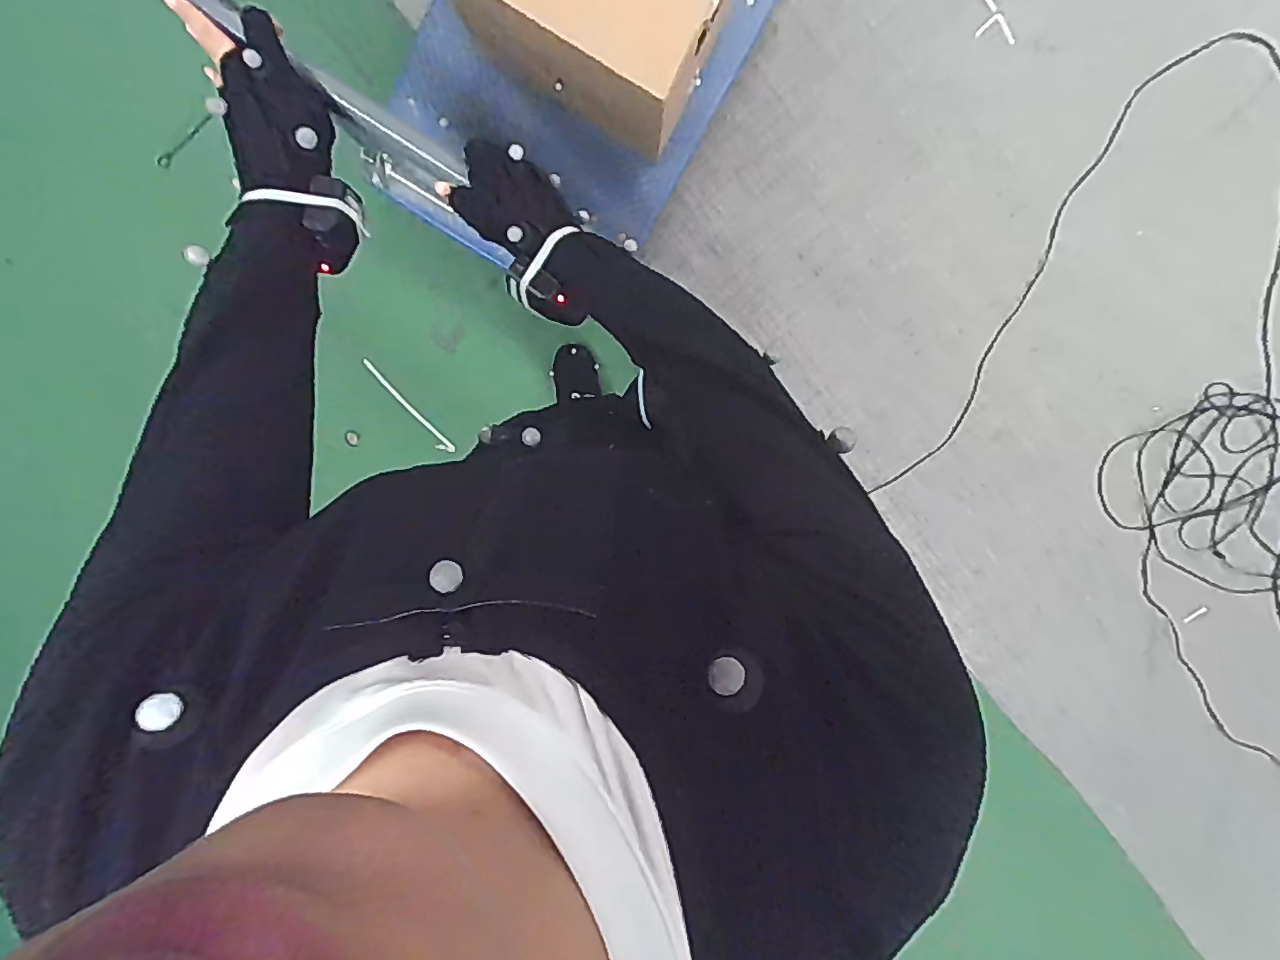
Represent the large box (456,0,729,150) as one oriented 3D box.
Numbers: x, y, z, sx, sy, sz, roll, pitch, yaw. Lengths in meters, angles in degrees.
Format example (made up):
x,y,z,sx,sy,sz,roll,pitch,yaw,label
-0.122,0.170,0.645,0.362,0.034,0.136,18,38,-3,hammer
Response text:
x,y,z,sx,sy,sz,roll,pitch,yaw,label
-0.067,-0.857,0.929,0.408,0.320,0.320,27,103,-7,large box
